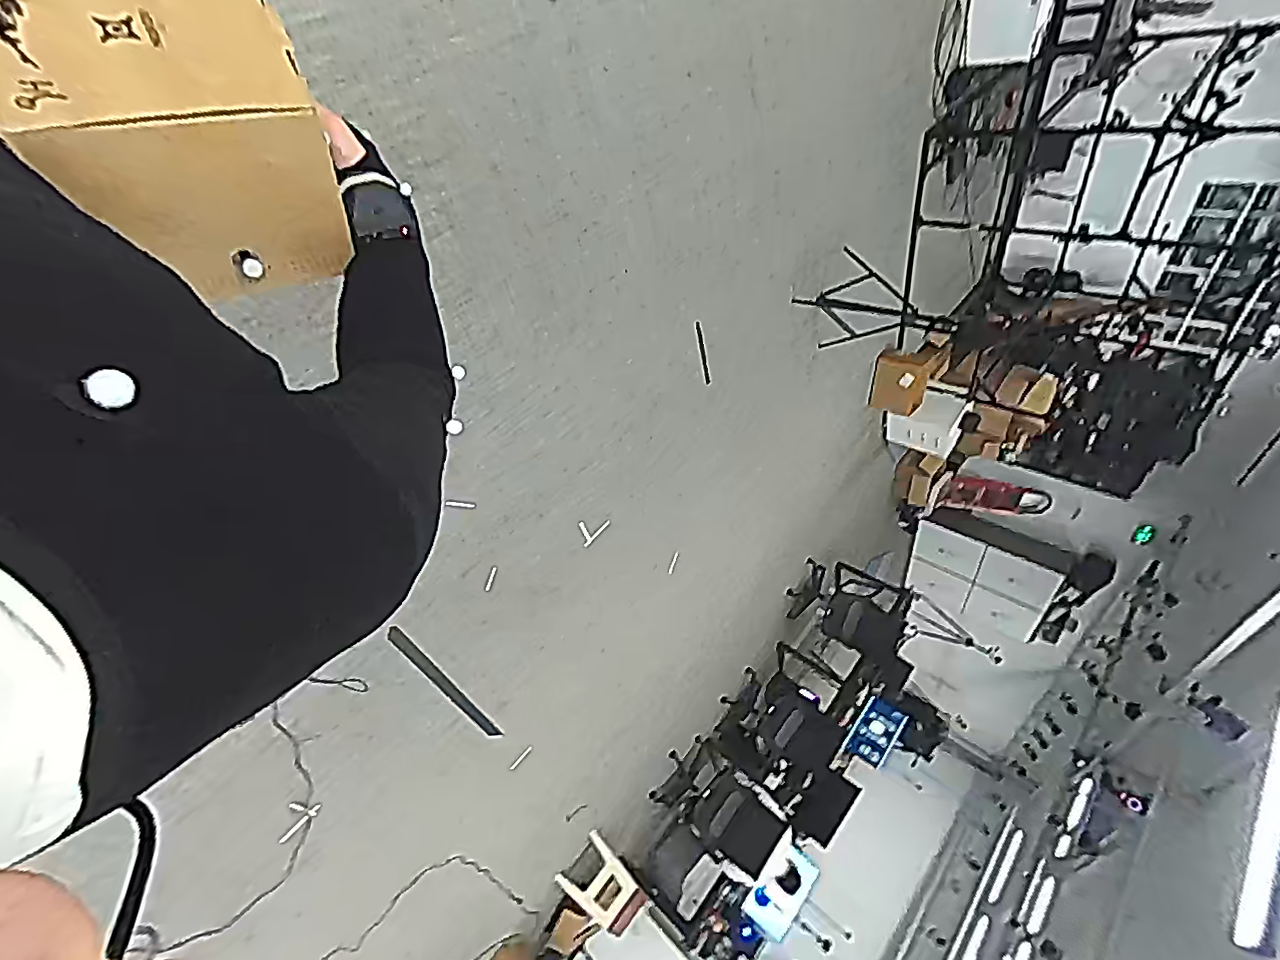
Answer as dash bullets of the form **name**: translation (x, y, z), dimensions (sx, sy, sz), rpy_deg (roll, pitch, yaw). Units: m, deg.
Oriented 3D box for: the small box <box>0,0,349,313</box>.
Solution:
- **small box**: translation (-0.370, -0.272, 0.462), dimensions (0.179, 0.168, 0.176), rpy_deg (-24, 167, -25)
